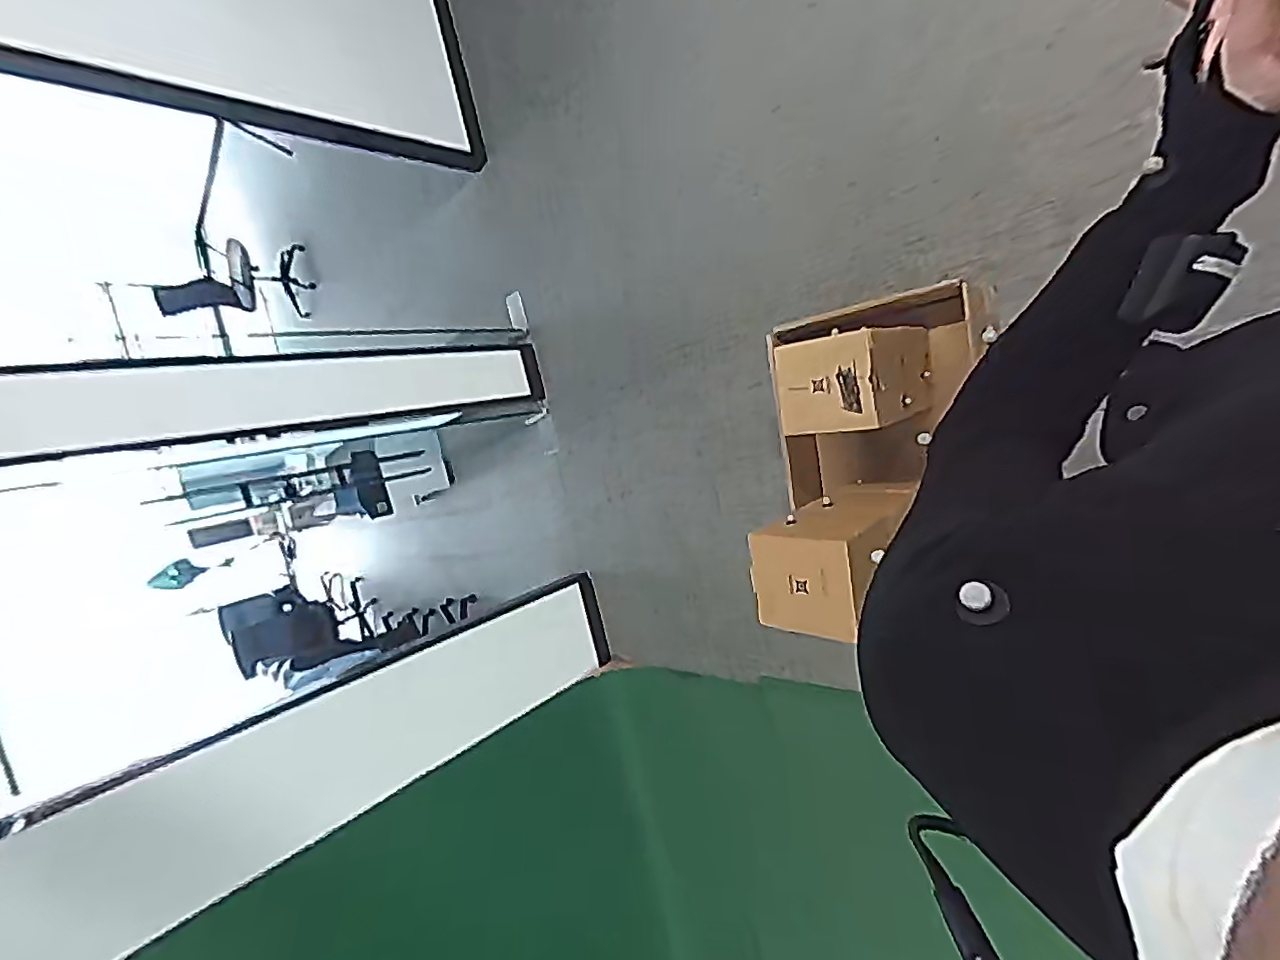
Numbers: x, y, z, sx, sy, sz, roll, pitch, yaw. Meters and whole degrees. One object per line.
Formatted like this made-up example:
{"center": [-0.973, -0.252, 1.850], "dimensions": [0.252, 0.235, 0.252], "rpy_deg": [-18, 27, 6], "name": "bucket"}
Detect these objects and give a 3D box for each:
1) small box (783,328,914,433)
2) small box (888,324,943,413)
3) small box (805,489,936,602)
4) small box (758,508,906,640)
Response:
{"center": [0.391, -0.183, 1.000], "dimensions": [0.179, 0.176, 0.168], "rpy_deg": [-1, 100, 46], "name": "small box"}
{"center": [0.501, -0.219, 1.118], "dimensions": [0.179, 0.176, 0.168], "rpy_deg": [-3, 99, 45], "name": "small box"}
{"center": [0.442, 0.115, 1.035], "dimensions": [0.179, 0.176, 0.168], "rpy_deg": [0, 102, 46], "name": "small box"}
{"center": [0.328, 0.148, 0.923], "dimensions": [0.179, 0.176, 0.168], "rpy_deg": [-1, 102, 46], "name": "small box"}
